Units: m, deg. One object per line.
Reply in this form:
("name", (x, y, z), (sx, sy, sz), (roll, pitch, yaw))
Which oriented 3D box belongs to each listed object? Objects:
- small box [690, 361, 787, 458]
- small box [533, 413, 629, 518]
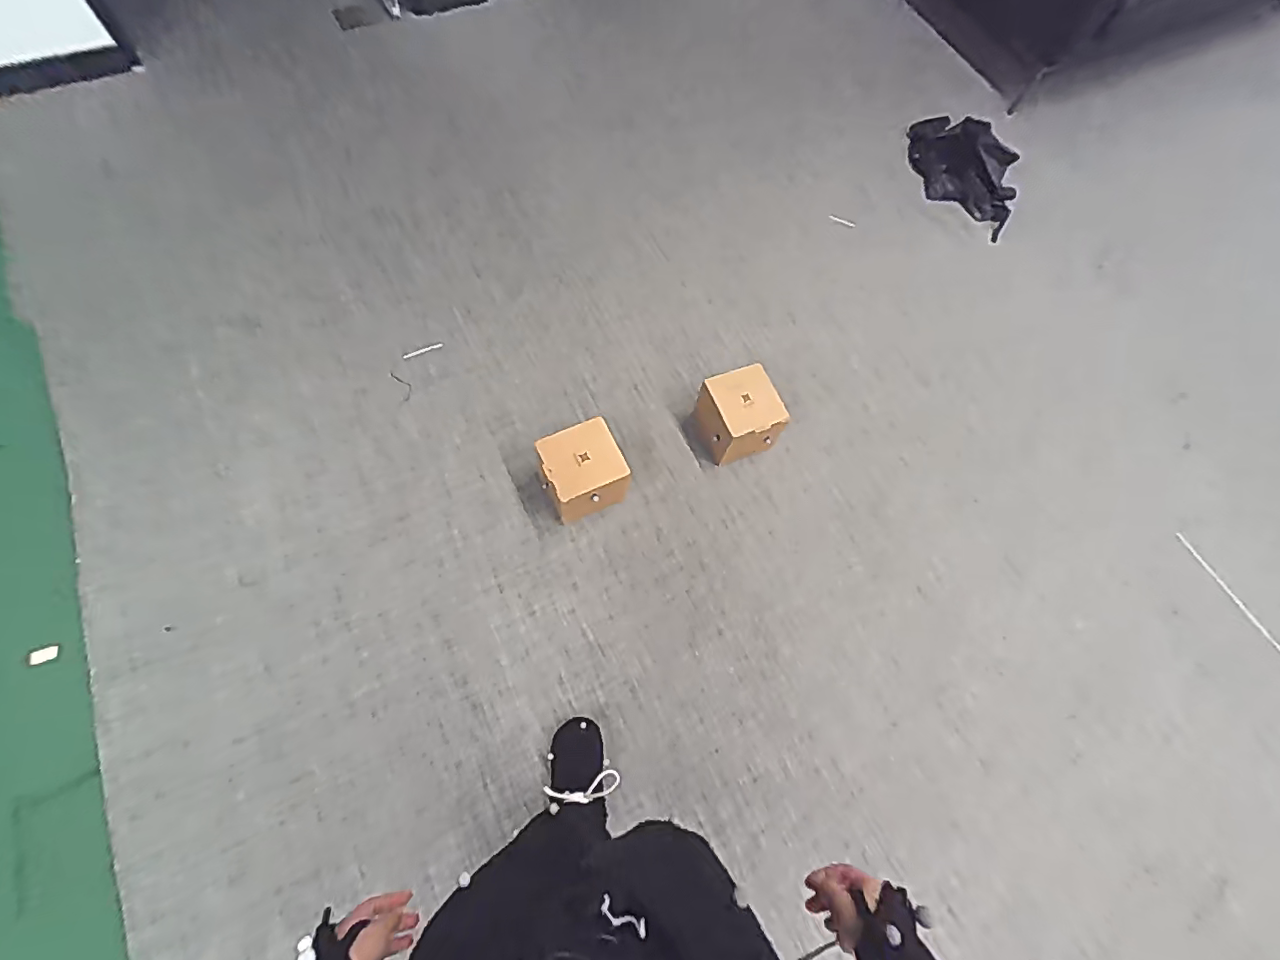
("small box", (0.248, -0.175, 1.405), (0.168, 0.176, 0.179), (-19, 70, -14))
("small box", (-0.145, -0.029, 1.304), (0.179, 0.176, 0.168), (-24, 73, -14))
